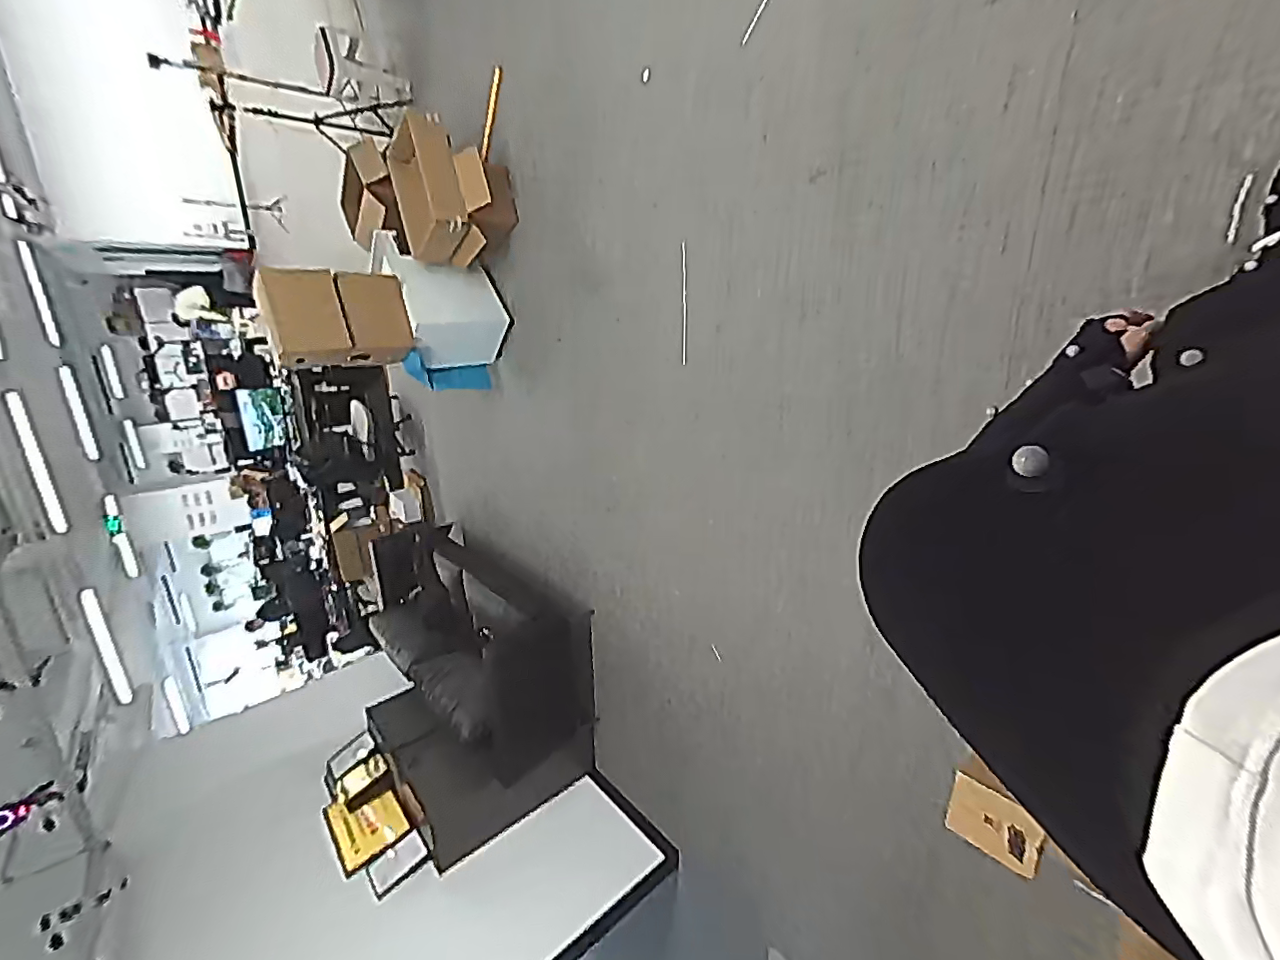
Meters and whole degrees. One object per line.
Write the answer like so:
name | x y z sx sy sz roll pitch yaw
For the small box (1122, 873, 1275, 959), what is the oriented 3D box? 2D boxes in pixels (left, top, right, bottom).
small box | 1.178 0.984 1.144 0.179 0.176 0.168 28 123 42

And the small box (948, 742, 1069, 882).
small box | 0.835 0.736 1.223 0.179 0.176 0.168 19 115 46
